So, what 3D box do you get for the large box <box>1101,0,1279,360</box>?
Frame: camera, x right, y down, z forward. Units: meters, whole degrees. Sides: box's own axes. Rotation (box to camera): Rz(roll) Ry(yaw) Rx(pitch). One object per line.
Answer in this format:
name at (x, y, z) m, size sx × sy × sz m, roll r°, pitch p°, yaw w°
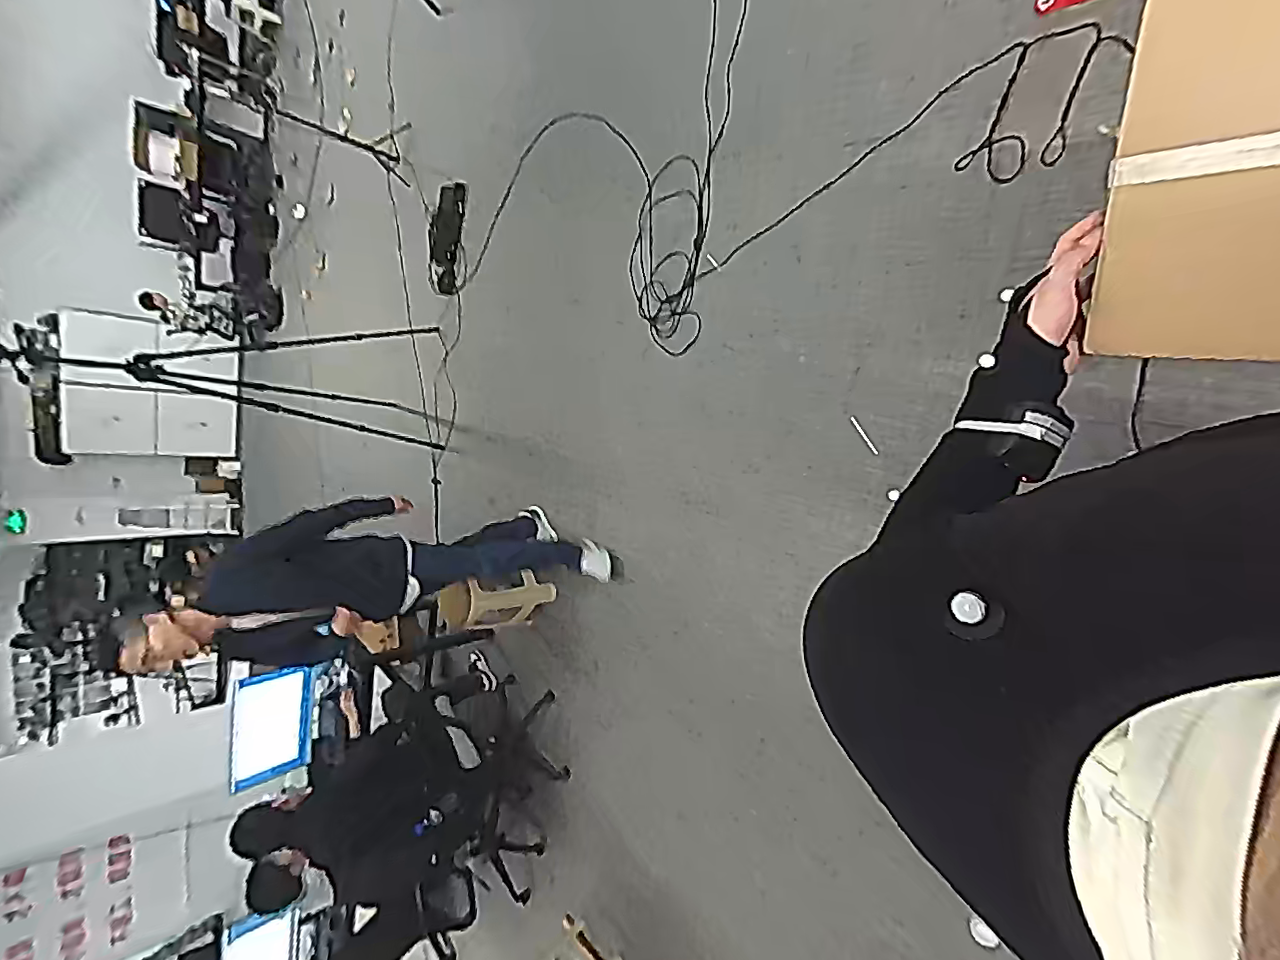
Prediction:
large box at (0.659, -0.274, 0.414) m, size 0.408 × 0.320 × 0.320 m, roll 16°, pitch 122°, yaw 45°
